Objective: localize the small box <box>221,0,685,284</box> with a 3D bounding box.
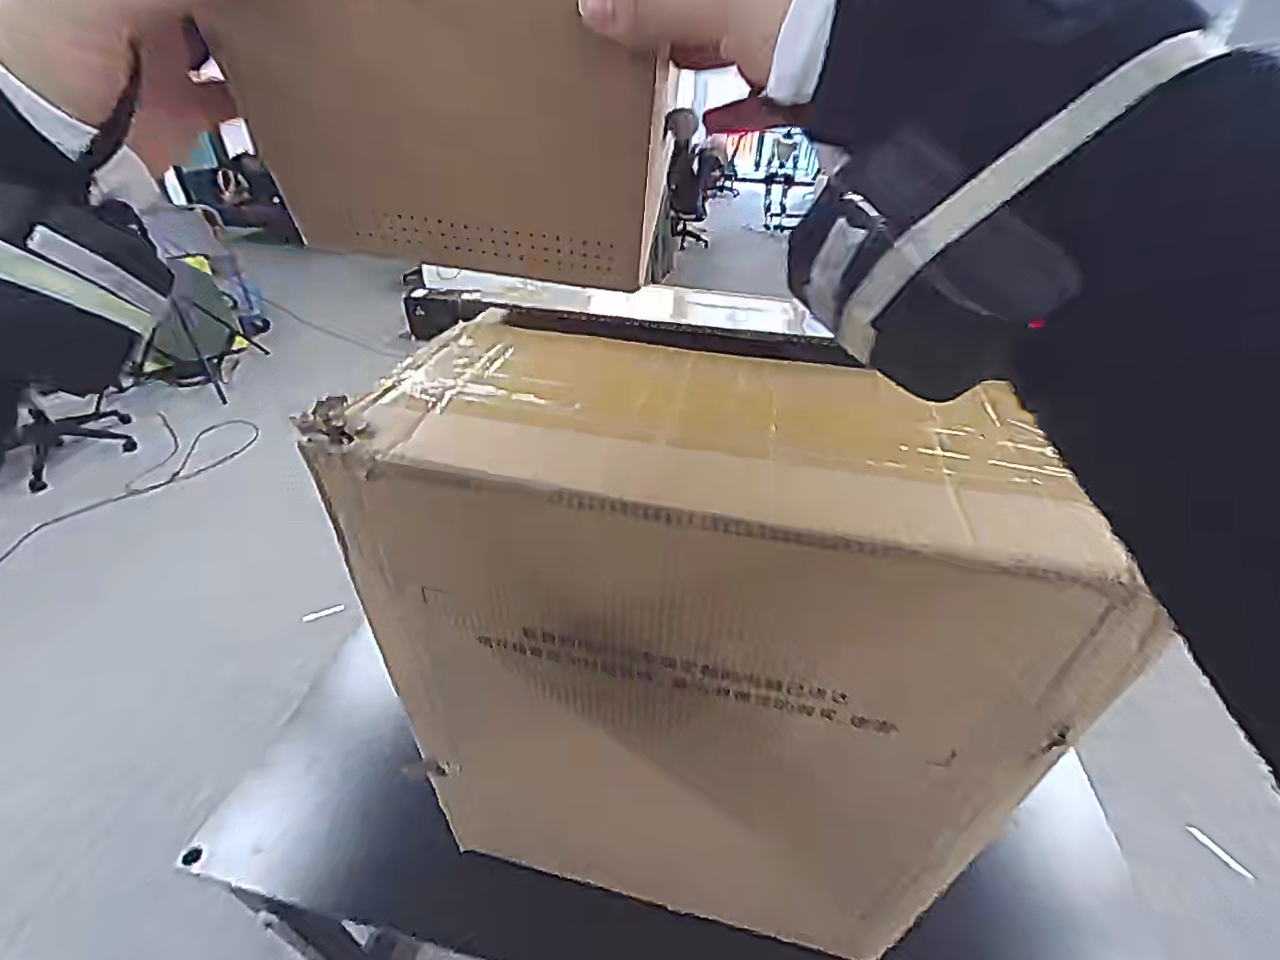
[{"bbox_3d":[-0.072,-0.219,0.261,0.179,0.176,0.168,9,57,1],"label":"small box"}]
